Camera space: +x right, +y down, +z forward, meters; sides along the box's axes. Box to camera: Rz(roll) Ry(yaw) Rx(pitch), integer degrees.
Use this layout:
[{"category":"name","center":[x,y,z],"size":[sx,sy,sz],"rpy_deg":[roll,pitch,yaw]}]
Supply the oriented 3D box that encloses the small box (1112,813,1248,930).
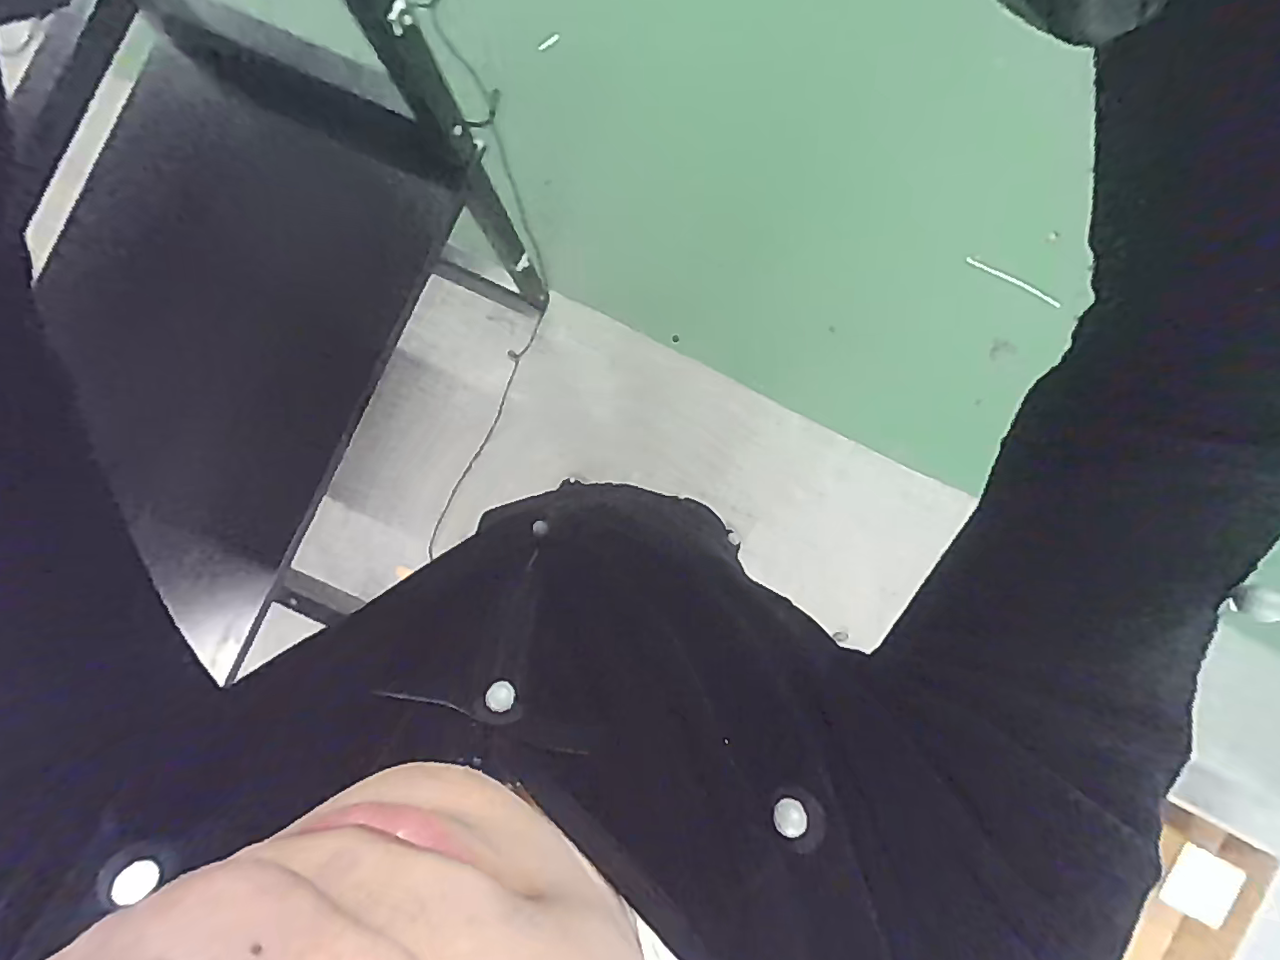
[{"category":"small box","center":[1.458,1.052,1.474],"size":[0.179,0.176,0.168],"rpy_deg":[28,89,0]}]
